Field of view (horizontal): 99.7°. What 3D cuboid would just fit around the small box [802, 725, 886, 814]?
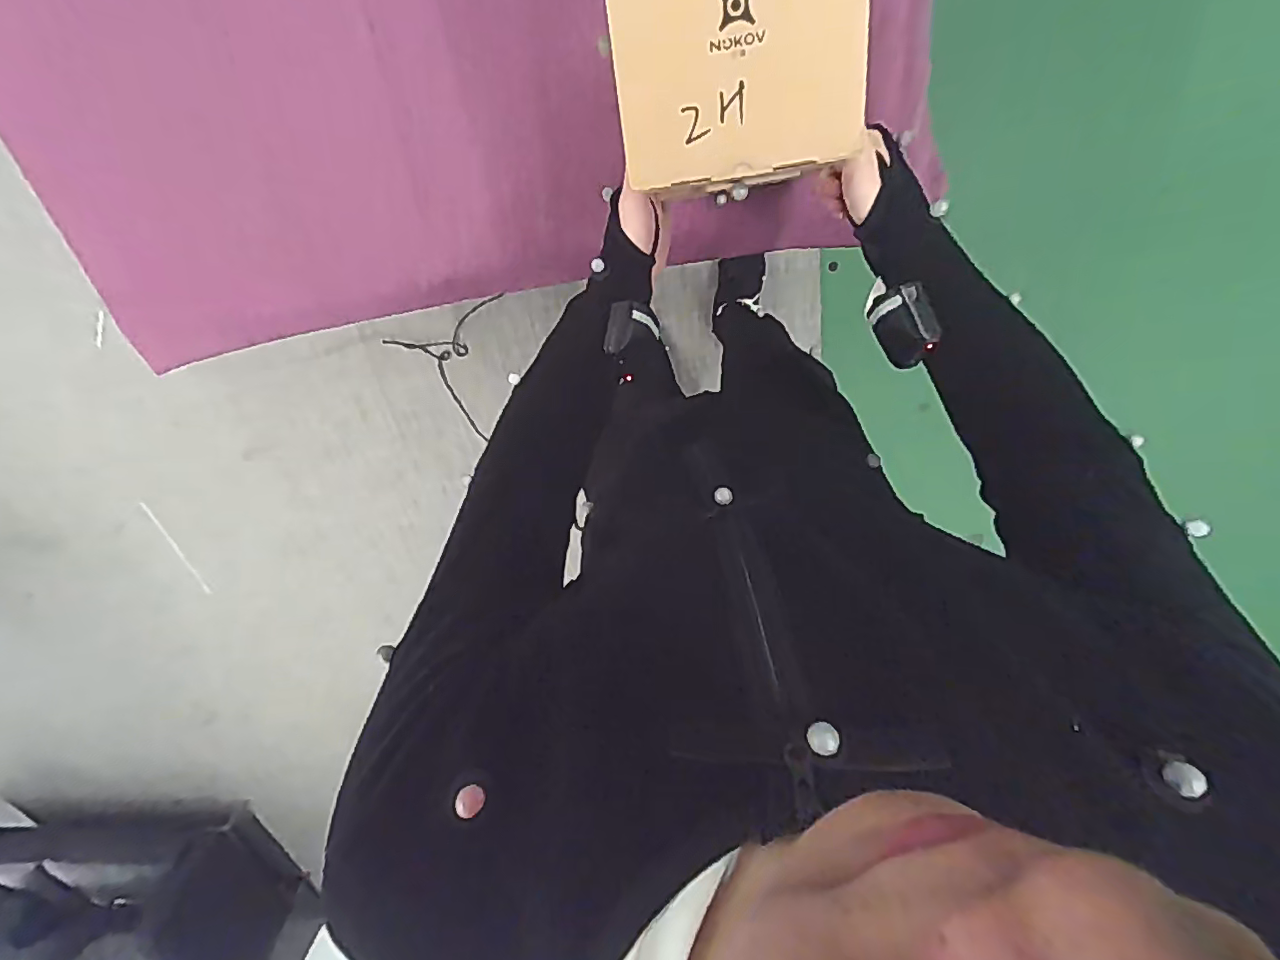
[{"bbox_3d":[0.637,0.910,1.714,0.179,0.176,0.168,29,120,-9],"label":"small box"}]

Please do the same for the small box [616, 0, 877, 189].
[{"bbox_3d":[0.076,-0.333,0.415,0.168,0.176,0.179,-3,118,11],"label":"small box"}]
